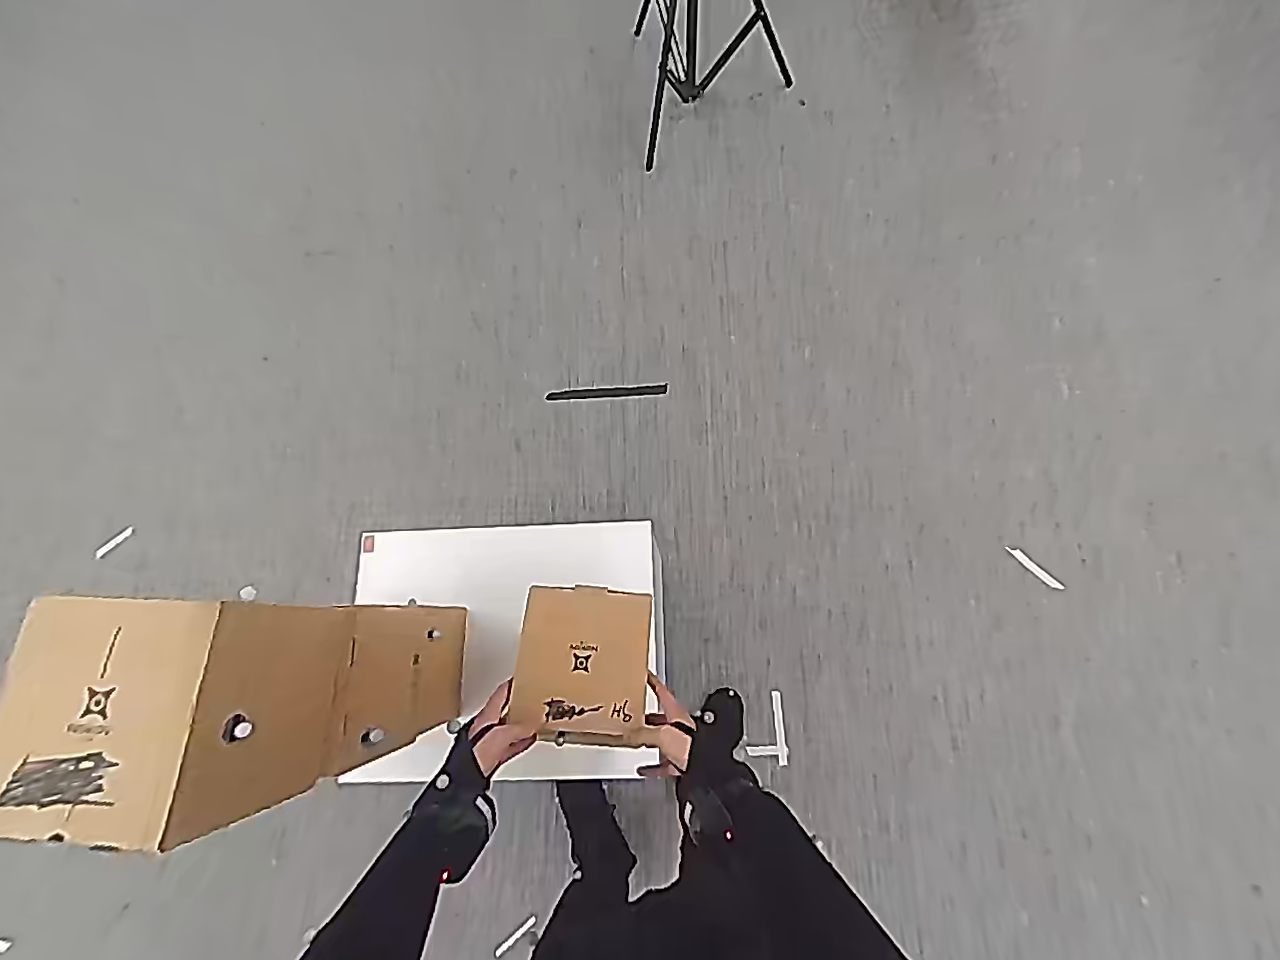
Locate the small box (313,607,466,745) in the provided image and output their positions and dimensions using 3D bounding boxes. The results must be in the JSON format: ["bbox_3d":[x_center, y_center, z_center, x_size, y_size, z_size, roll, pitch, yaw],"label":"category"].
[{"bbox_3d":[-0.370,0.280,0.802,0.168,0.176,0.179,-2,75,3],"label":"small box"}]

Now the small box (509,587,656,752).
[{"bbox_3d":[-0.069,0.264,0.741,0.168,0.176,0.179,4,60,1],"label":"small box"}]

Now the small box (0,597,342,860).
[{"bbox_3d":[-0.401,0.201,0.484,0.168,0.176,0.179,1,74,5],"label":"small box"}]
